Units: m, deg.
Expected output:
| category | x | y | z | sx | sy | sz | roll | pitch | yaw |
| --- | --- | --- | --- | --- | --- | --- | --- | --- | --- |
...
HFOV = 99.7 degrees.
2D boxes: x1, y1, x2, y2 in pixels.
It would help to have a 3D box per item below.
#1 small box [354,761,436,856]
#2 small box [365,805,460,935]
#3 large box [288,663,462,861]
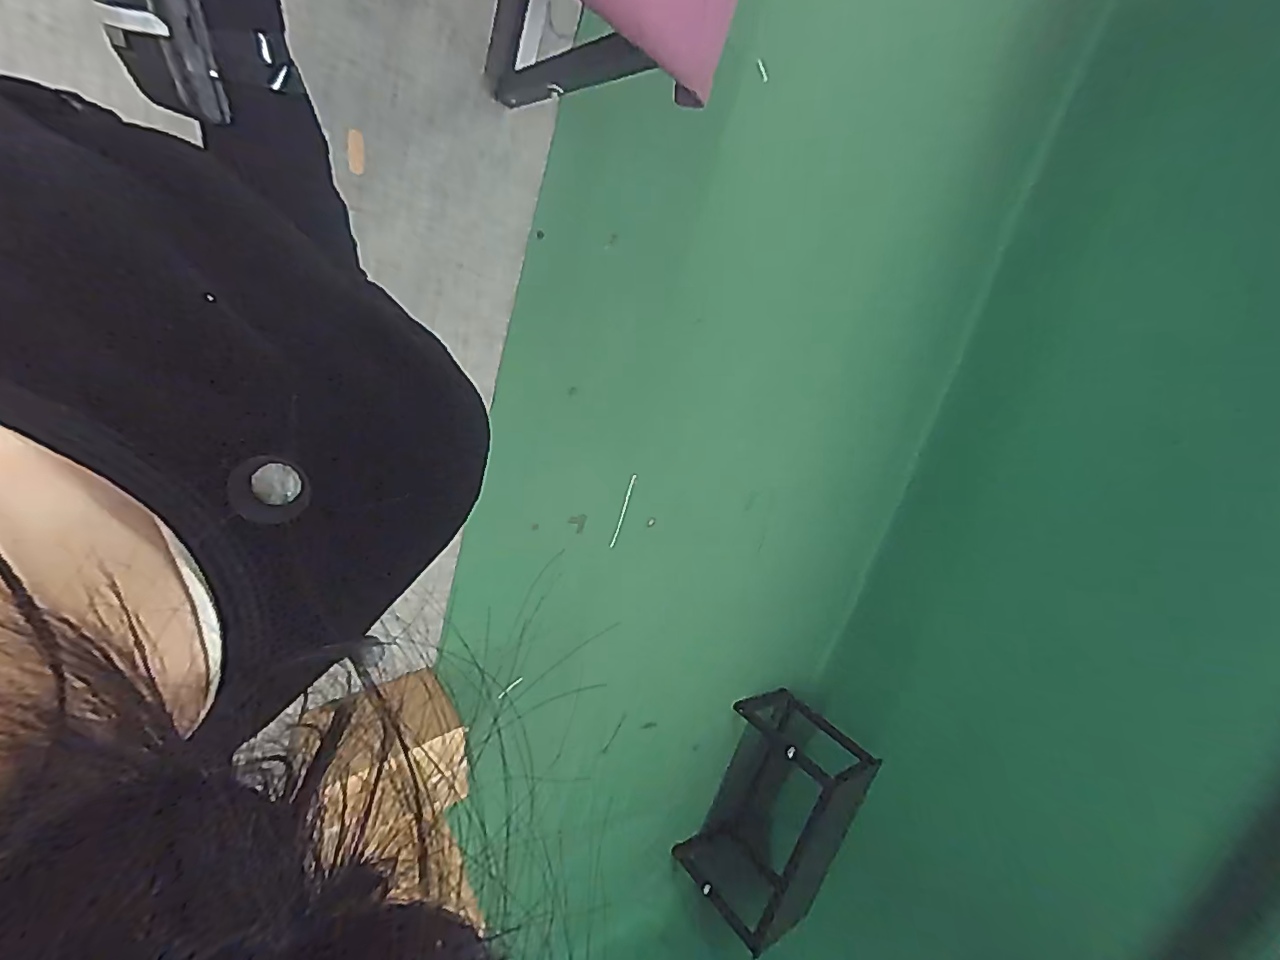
| category | x | y | z | sx | sy | sz | roll | pitch | yaw |
| --- | --- | --- | --- | --- | --- | --- | --- | --- | --- |
| small box | -0.676 | 0.909 | 1.483 | 0.168 | 0.176 | 0.179 | -6 | 115 | -40 |
| small box | -0.579 | 0.974 | 1.370 | 0.179 | 0.176 | 0.168 | -4 | 114 | -40 |
| large box | -0.813 | 0.845 | 1.680 | 0.408 | 0.320 | 0.320 | -14 | 121 | -39 |
